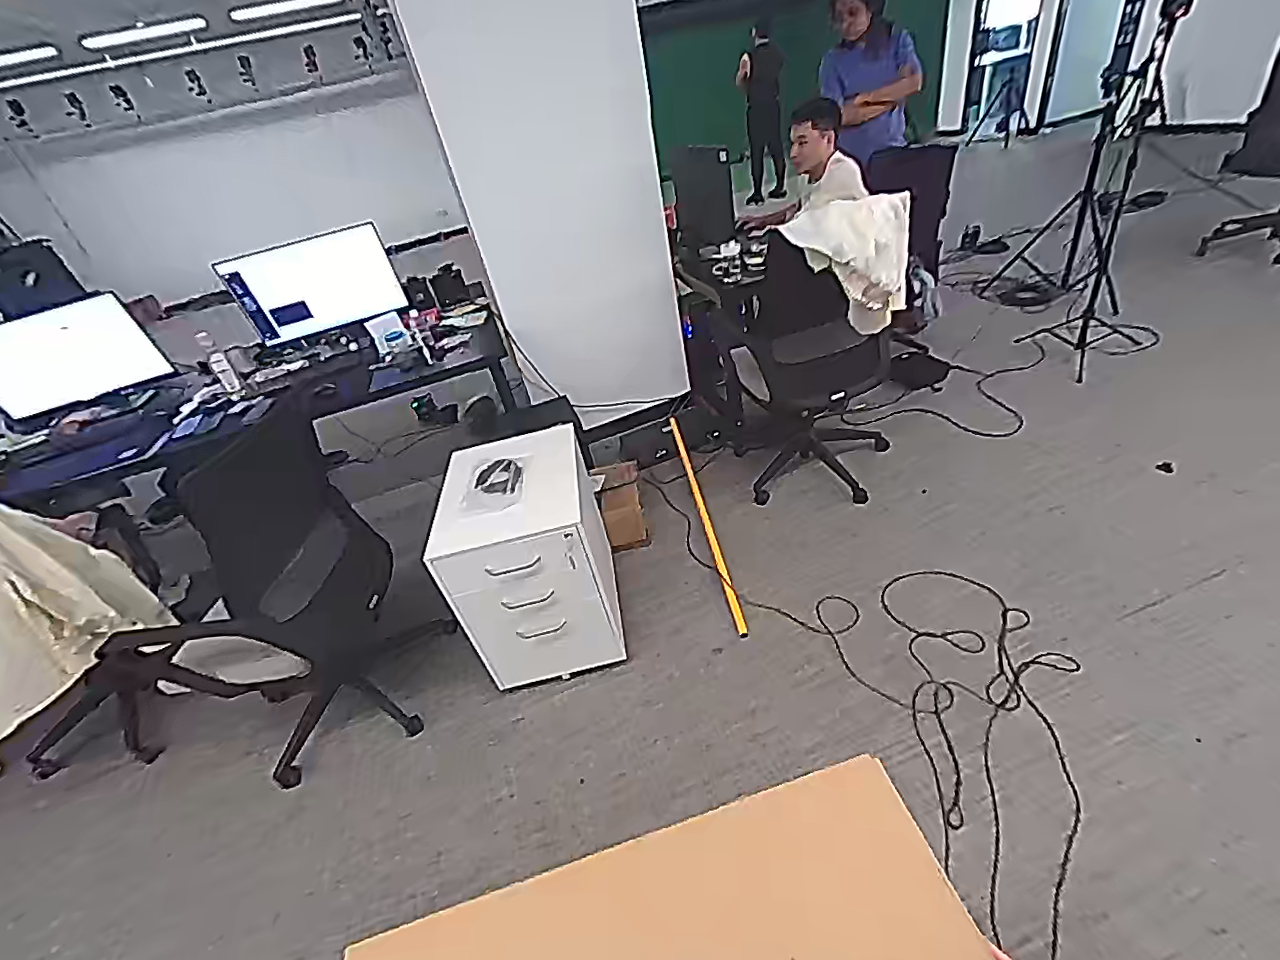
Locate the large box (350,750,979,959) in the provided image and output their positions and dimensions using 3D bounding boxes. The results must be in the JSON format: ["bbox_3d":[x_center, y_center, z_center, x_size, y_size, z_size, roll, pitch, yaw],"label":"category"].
[{"bbox_3d":[0.047,0.471,0.395,0.408,0.320,0.320,-16,42,-7],"label":"large box"}]
